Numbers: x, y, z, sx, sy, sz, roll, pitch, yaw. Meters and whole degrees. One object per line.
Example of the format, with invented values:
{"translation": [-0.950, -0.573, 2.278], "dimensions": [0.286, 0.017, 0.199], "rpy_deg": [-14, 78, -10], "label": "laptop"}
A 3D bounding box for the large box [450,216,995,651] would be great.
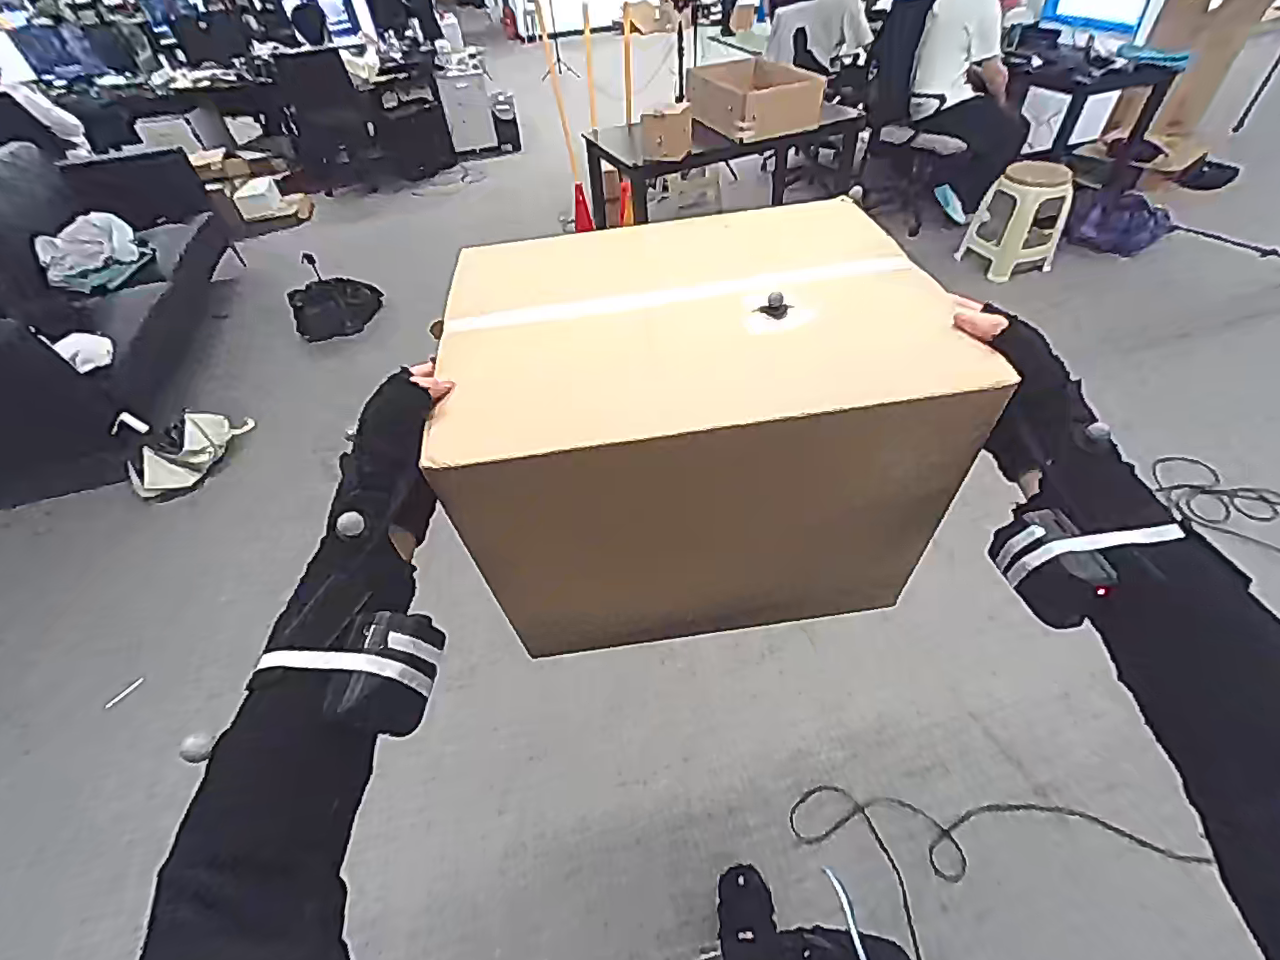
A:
{"translation": [0.051, -0.047, 0.588], "dimensions": [0.408, 0.320, 0.320], "rpy_deg": [-8, 49, -2], "label": "large box"}
